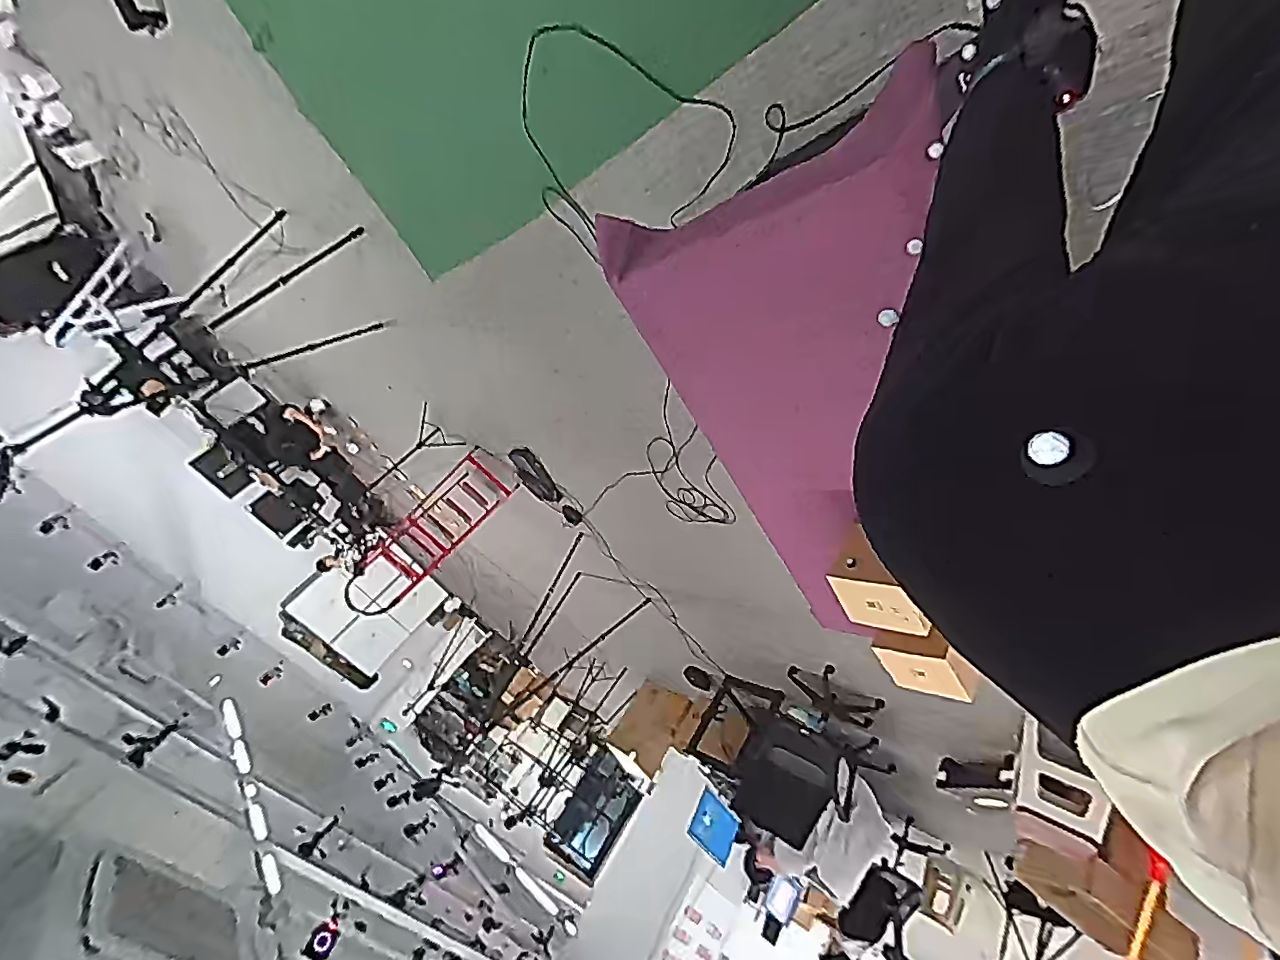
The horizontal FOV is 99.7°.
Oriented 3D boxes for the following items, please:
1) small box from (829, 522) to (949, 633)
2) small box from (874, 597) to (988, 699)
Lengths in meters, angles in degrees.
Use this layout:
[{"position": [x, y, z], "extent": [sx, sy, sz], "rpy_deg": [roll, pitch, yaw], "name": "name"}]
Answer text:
[{"position": [0.562, 0.211, 1.214], "extent": [0.179, 0.176, 0.168], "rpy_deg": [-1, 132, 49], "name": "small box"}, {"position": [0.705, 0.392, 1.307], "extent": [0.179, 0.176, 0.168], "rpy_deg": [-7, 128, 52], "name": "small box"}]
